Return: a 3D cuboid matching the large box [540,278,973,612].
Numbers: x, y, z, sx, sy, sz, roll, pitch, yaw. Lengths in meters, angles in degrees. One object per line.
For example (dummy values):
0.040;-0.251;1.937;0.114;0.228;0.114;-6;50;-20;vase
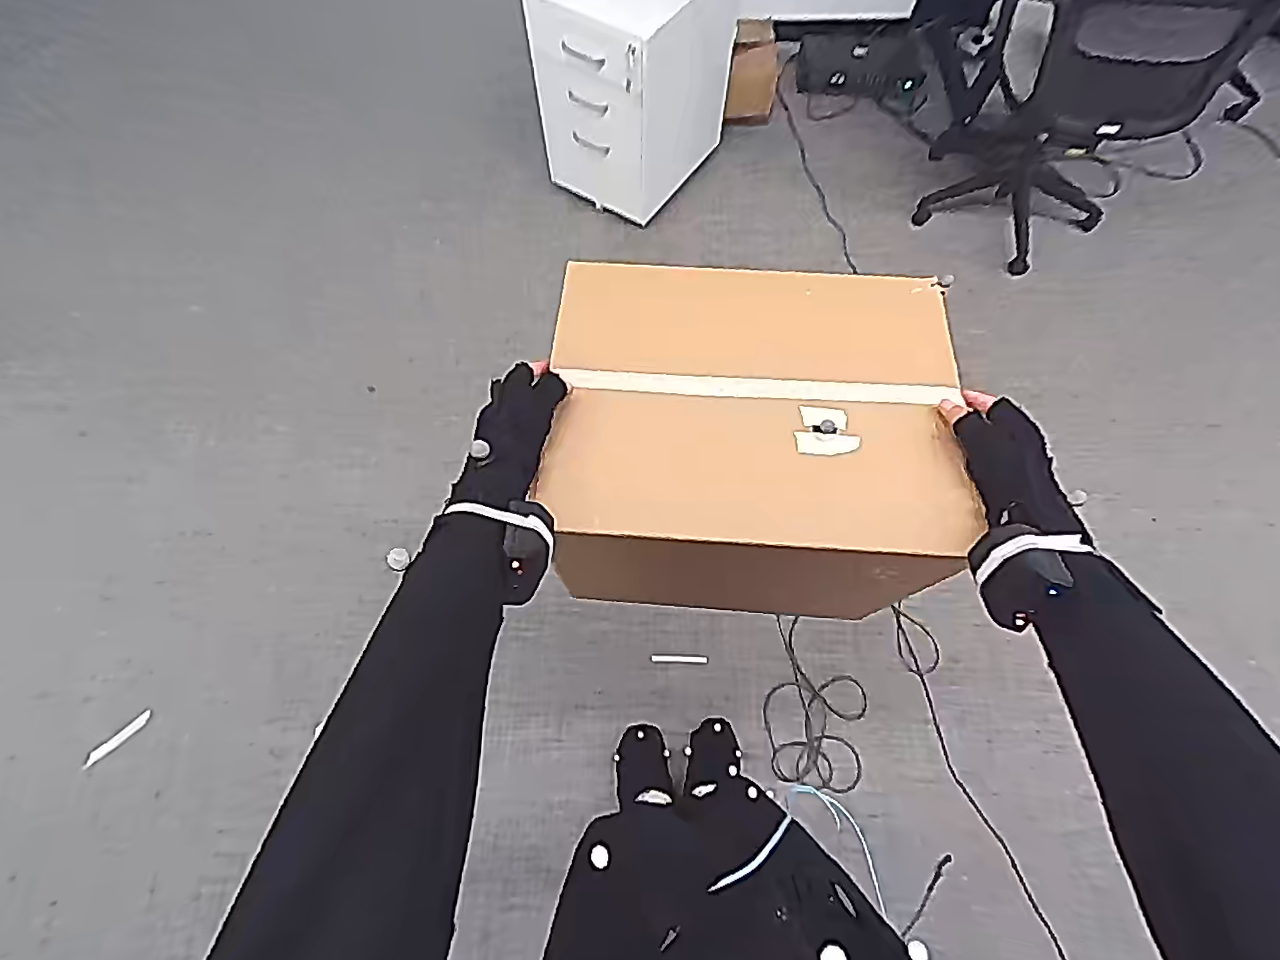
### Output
0.112;-0.023;0.687;0.408;0.320;0.320;4;67;2;large box
